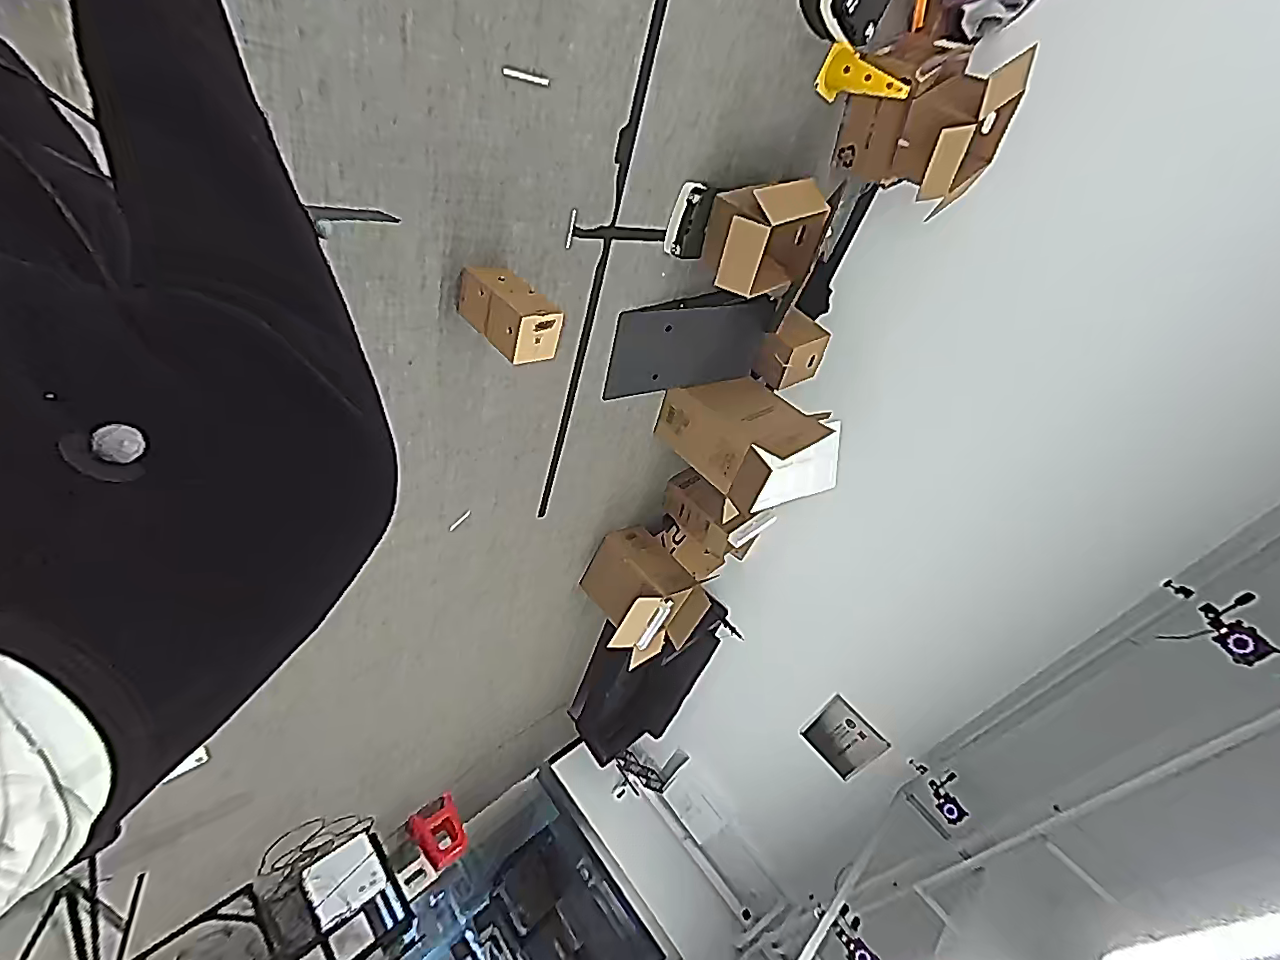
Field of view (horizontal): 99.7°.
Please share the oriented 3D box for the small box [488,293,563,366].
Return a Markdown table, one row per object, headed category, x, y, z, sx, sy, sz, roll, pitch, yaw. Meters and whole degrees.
| category | x | y | z | sx | sy | sz | roll | pitch | yaw |
| --- | --- | --- | --- | --- | --- | --- | --- | --- | --- |
| small box | -0.380 | -0.500 | 1.768 | 0.168 | 0.176 | 0.179 | -22 | 146 | -41 |
